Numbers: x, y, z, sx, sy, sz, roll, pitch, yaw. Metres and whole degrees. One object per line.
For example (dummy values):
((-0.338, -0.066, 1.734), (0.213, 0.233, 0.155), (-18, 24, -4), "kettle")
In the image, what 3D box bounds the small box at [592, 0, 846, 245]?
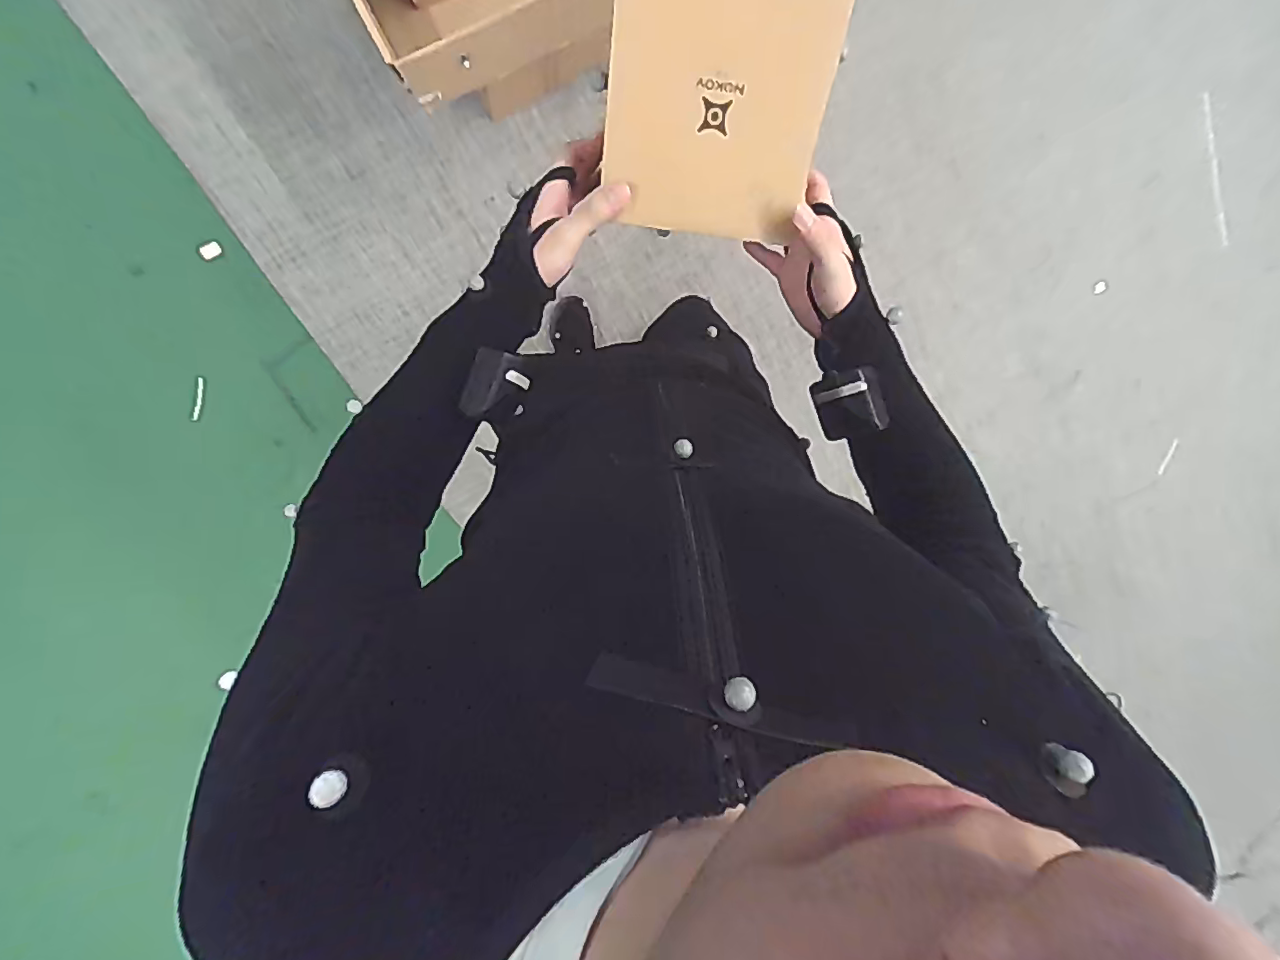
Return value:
((0.052, -0.323, 0.473), (0.168, 0.176, 0.179), (5, 122, -4), "small box")
